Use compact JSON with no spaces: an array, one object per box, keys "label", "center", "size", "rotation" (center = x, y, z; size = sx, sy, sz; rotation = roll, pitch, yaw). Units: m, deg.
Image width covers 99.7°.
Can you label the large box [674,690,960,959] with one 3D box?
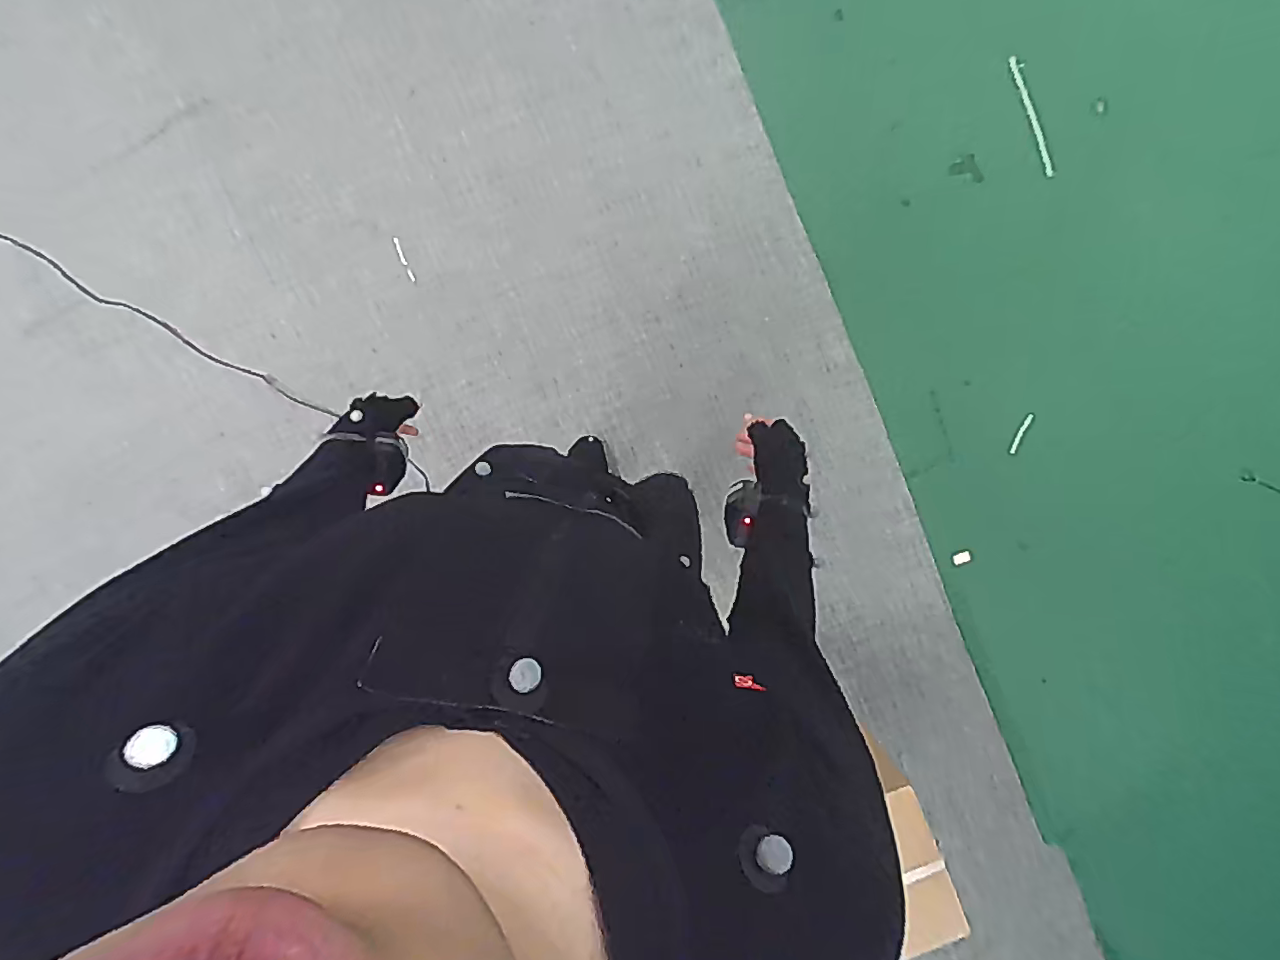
[{"label":"large box","center":[0.320,0.696,1.077],"size":[0.408,0.320,0.320],"rotation":[-23,98,1]}]
